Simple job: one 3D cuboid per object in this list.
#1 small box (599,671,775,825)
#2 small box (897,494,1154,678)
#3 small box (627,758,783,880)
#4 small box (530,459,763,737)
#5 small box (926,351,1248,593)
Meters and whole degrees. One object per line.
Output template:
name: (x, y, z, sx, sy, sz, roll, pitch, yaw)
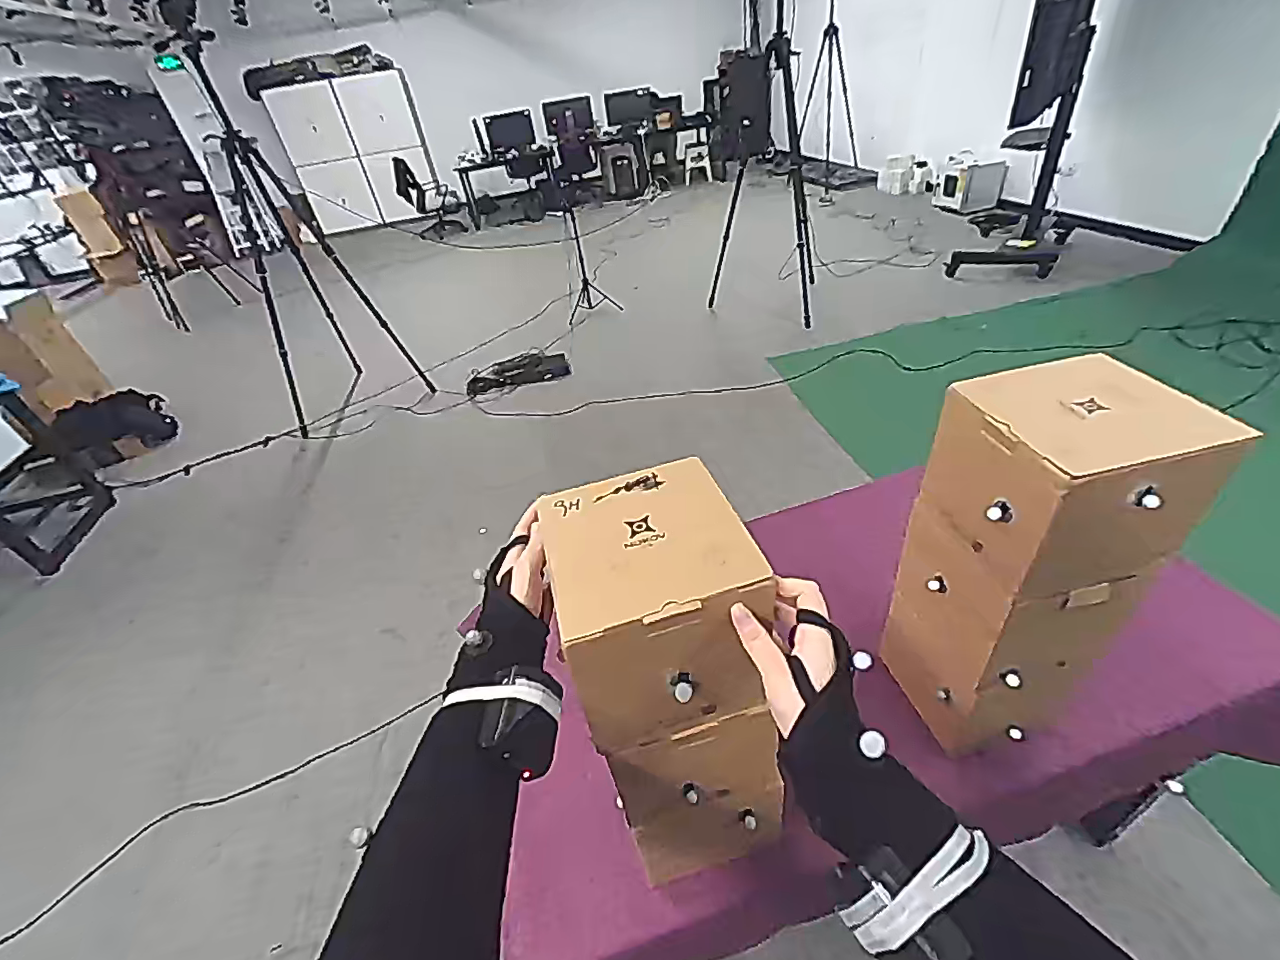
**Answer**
small box: (0.038, 0.241, 0.603, 0.168, 0.176, 0.179, -14, 37, -5)
small box: (0.442, 0.117, 0.658, 0.168, 0.176, 0.179, -14, 37, -3)
small box: (0.068, 0.373, 0.695, 0.179, 0.176, 0.168, -15, 37, -5)
small box: (0.006, 0.112, 0.506, 0.168, 0.176, 0.179, -15, 39, -7)
small box: (0.421, -0.007, 0.554, 0.179, 0.176, 0.168, -12, 39, -2)
